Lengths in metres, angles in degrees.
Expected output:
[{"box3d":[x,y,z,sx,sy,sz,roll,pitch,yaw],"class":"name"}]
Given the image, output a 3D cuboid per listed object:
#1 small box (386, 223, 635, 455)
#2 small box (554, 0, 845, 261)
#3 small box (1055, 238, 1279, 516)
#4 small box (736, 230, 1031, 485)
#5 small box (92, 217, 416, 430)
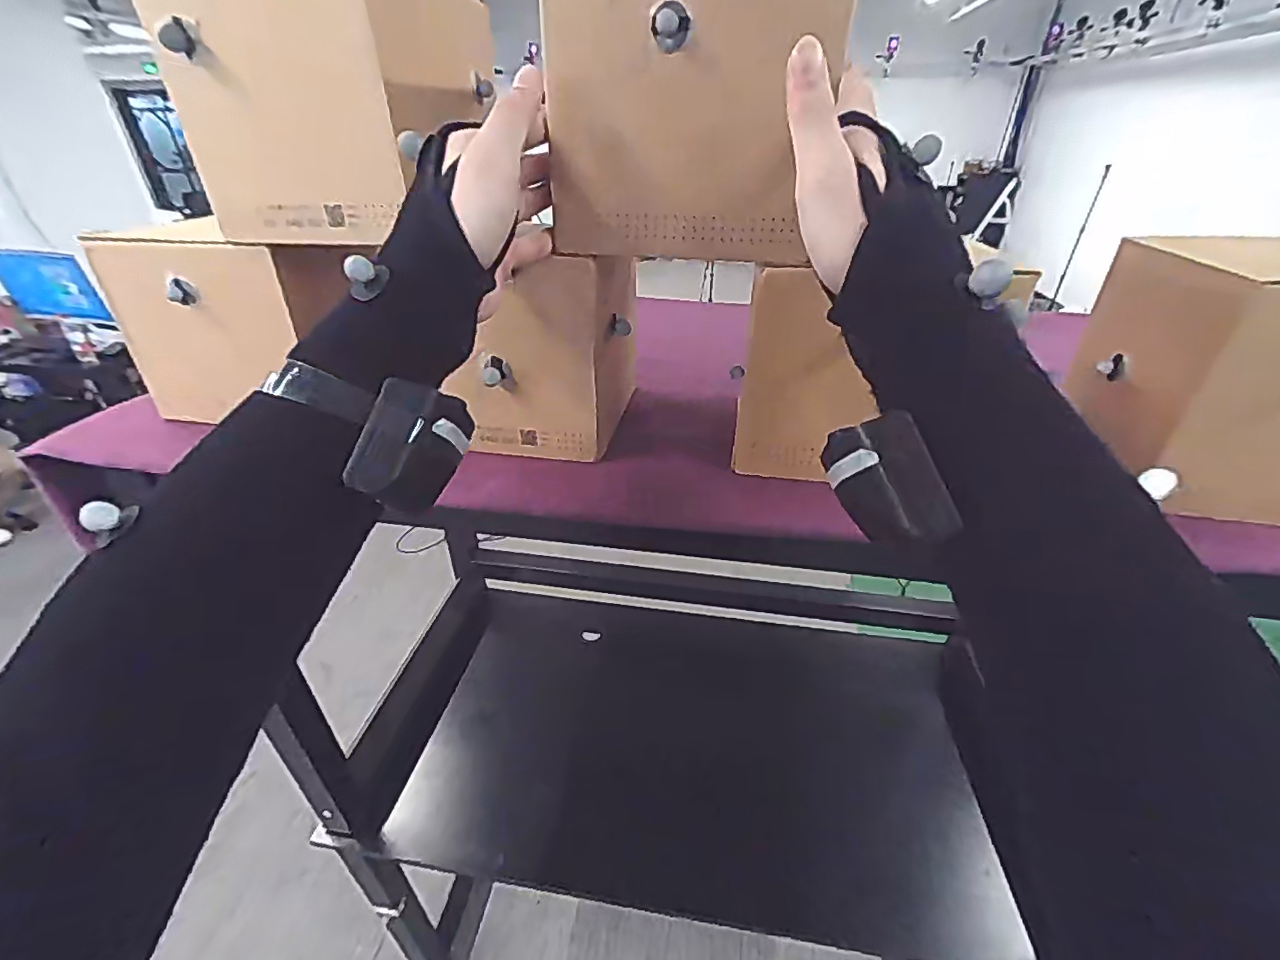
[{"box3d":[-0.097,-0.136,0.504,0.168,0.176,0.179,6,32,7],"class":"small box"},{"box3d":[0.042,-0.264,0.402,0.179,0.176,0.168,5,32,6],"class":"small box"},{"box3d":[0.463,-0.084,0.418,0.179,0.176,0.168,7,33,12],"class":"small box"},{"box3d":[0.181,-0.109,0.465,0.179,0.176,0.168,5,32,9],"class":"small box"},{"box3d":[-0.356,-0.160,0.539,0.179,0.176,0.168,6,32,7],"class":"small box"}]
